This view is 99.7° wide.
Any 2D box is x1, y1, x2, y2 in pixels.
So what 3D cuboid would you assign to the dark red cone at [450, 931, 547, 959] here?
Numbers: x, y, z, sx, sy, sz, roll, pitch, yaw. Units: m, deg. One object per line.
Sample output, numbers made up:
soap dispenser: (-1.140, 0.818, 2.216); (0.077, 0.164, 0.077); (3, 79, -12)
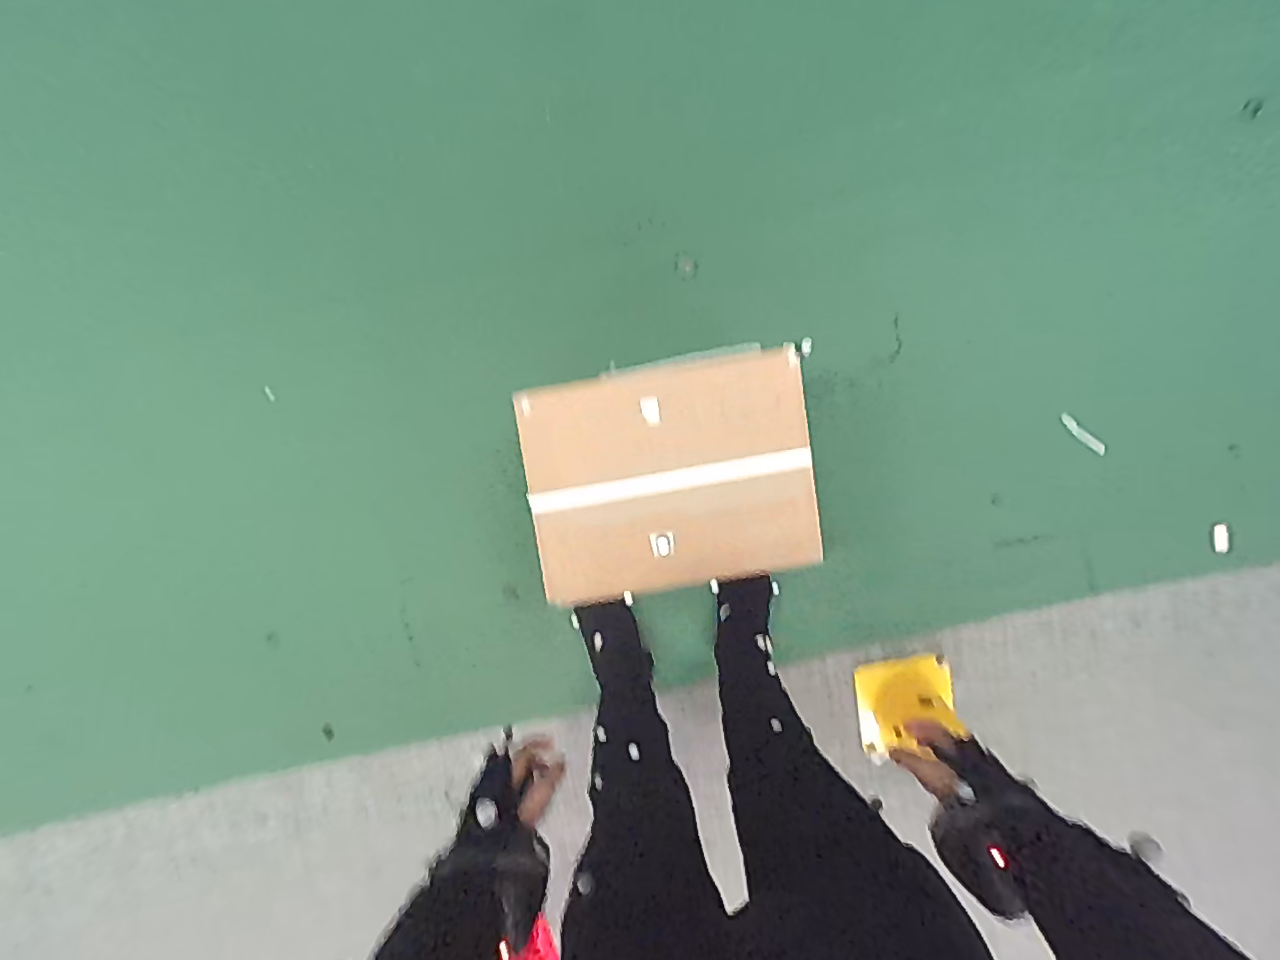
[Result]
dark red cone: (-0.282, 1.069, 0.977); (0.202, 0.394, 0.201); (-20, 93, 2)
